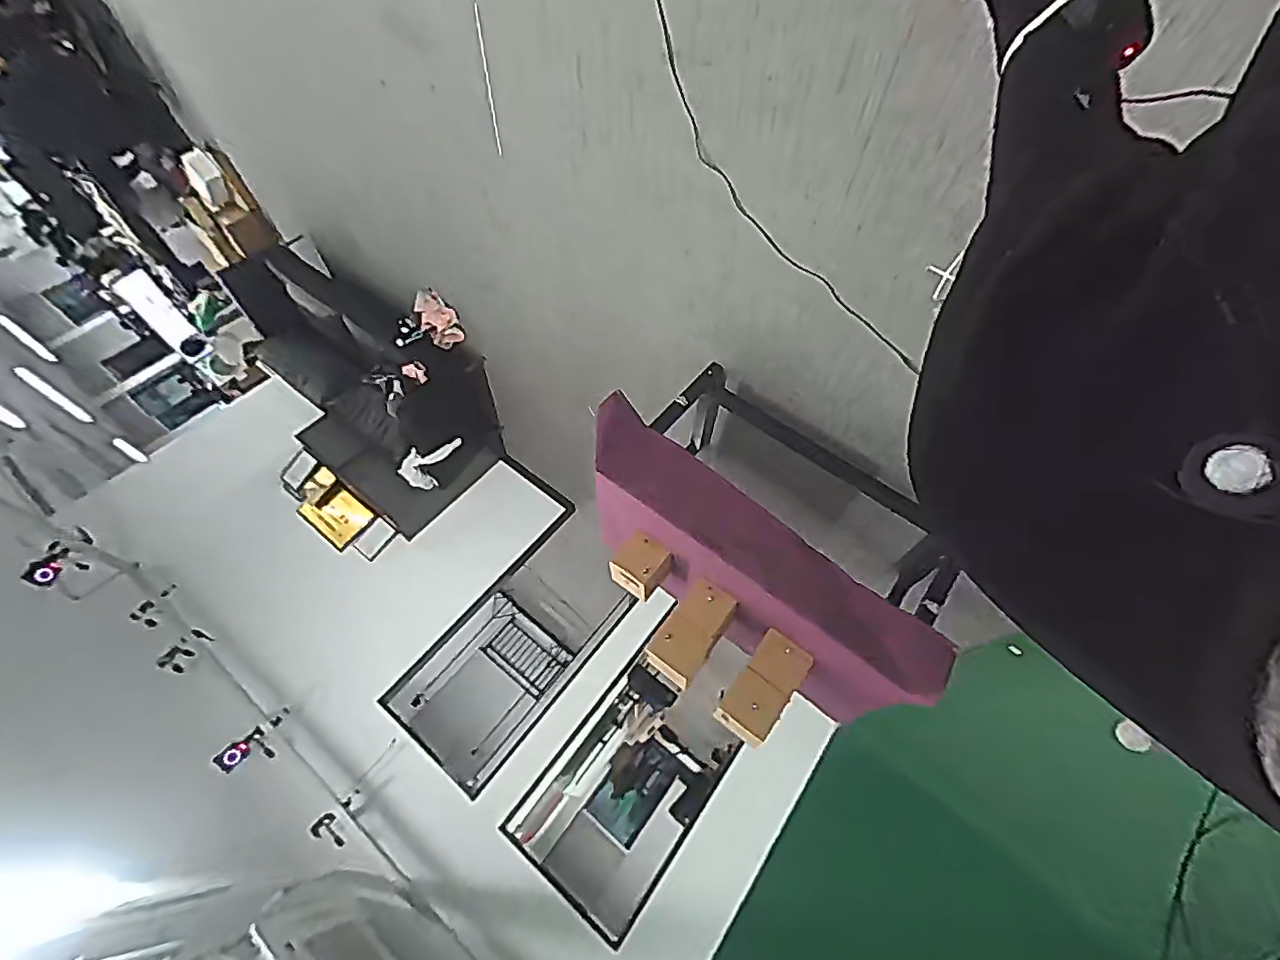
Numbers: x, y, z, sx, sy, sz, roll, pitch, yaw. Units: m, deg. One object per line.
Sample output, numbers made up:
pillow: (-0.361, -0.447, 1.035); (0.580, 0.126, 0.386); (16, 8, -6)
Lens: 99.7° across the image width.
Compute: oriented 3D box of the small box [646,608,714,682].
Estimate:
small box: (0.140, 0.577, 1.920); (0.179, 0.176, 0.168); (32, 154, 21)

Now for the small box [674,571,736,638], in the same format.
small box: (0.239, 0.469, 1.993); (0.168, 0.176, 0.179); (31, 152, 23)

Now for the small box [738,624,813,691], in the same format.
small box: (0.473, 0.629, 1.898); (0.179, 0.176, 0.168); (34, 154, 19)

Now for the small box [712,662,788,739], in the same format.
small box: (0.370, 0.738, 1.829); (0.179, 0.176, 0.168); (34, 153, 18)
